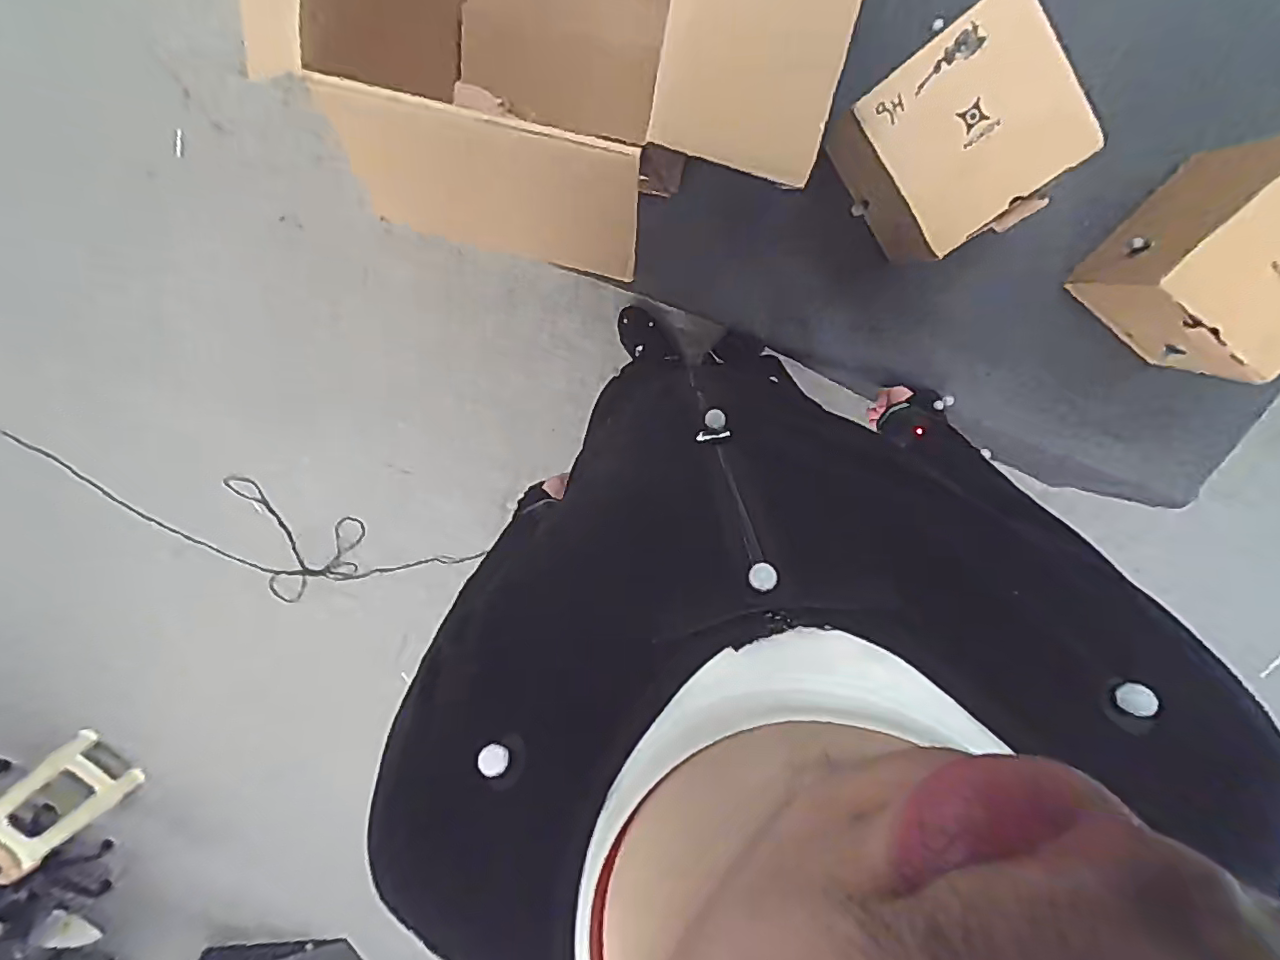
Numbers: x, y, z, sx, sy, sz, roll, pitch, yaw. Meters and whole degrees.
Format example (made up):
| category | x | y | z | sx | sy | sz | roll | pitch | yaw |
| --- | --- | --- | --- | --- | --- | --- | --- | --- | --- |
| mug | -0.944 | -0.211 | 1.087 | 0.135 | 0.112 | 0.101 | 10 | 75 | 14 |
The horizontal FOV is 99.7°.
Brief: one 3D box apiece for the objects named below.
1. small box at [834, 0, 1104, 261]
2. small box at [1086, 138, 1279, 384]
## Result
| category | x | y | z | sx | sy | sz | roll | pitch | yaw |
| --- | --- | --- | --- | --- | --- | --- | --- | --- | --- |
| small box | 0.339 | -0.365 | 0.593 | 0.168 | 0.176 | 0.179 | -33 | 102 | 18 |
| small box | 0.643 | -0.233 | 0.588 | 0.168 | 0.176 | 0.179 | 37 | 111 | -6 |
